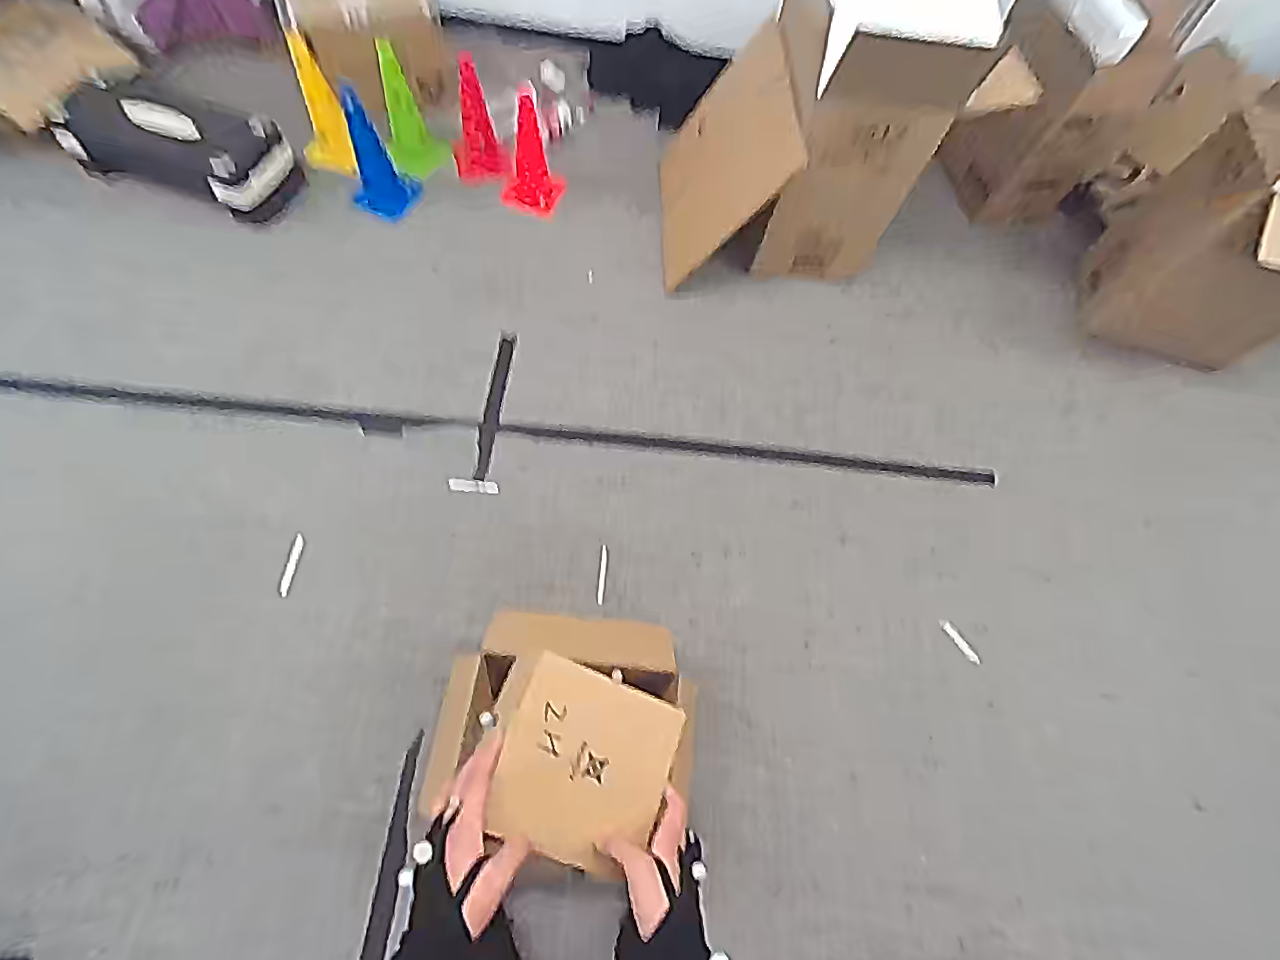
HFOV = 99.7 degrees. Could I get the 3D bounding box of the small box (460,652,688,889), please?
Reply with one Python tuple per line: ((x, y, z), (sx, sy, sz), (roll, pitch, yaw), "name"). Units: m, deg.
((-0.078, 0.304, 0.596), (0.179, 0.176, 0.168), (28, 62, -10), "small box")
